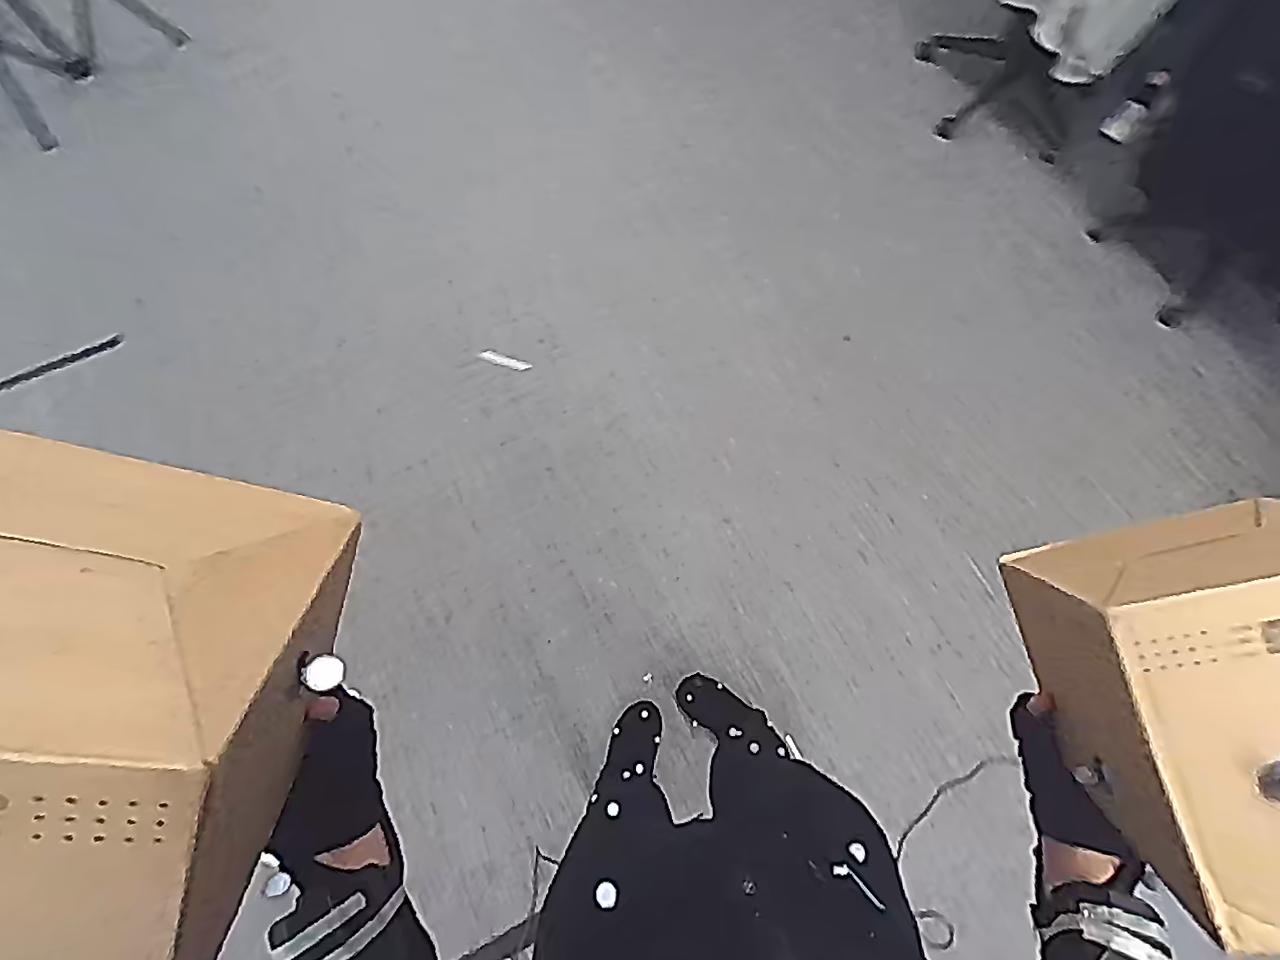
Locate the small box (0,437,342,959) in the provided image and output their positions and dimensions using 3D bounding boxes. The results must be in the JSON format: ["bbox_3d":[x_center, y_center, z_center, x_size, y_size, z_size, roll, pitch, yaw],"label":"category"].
[{"bbox_3d":[-0.233,0.094,0.202,0.168,0.179,0.176,15,104,-19],"label":"small box"}]
